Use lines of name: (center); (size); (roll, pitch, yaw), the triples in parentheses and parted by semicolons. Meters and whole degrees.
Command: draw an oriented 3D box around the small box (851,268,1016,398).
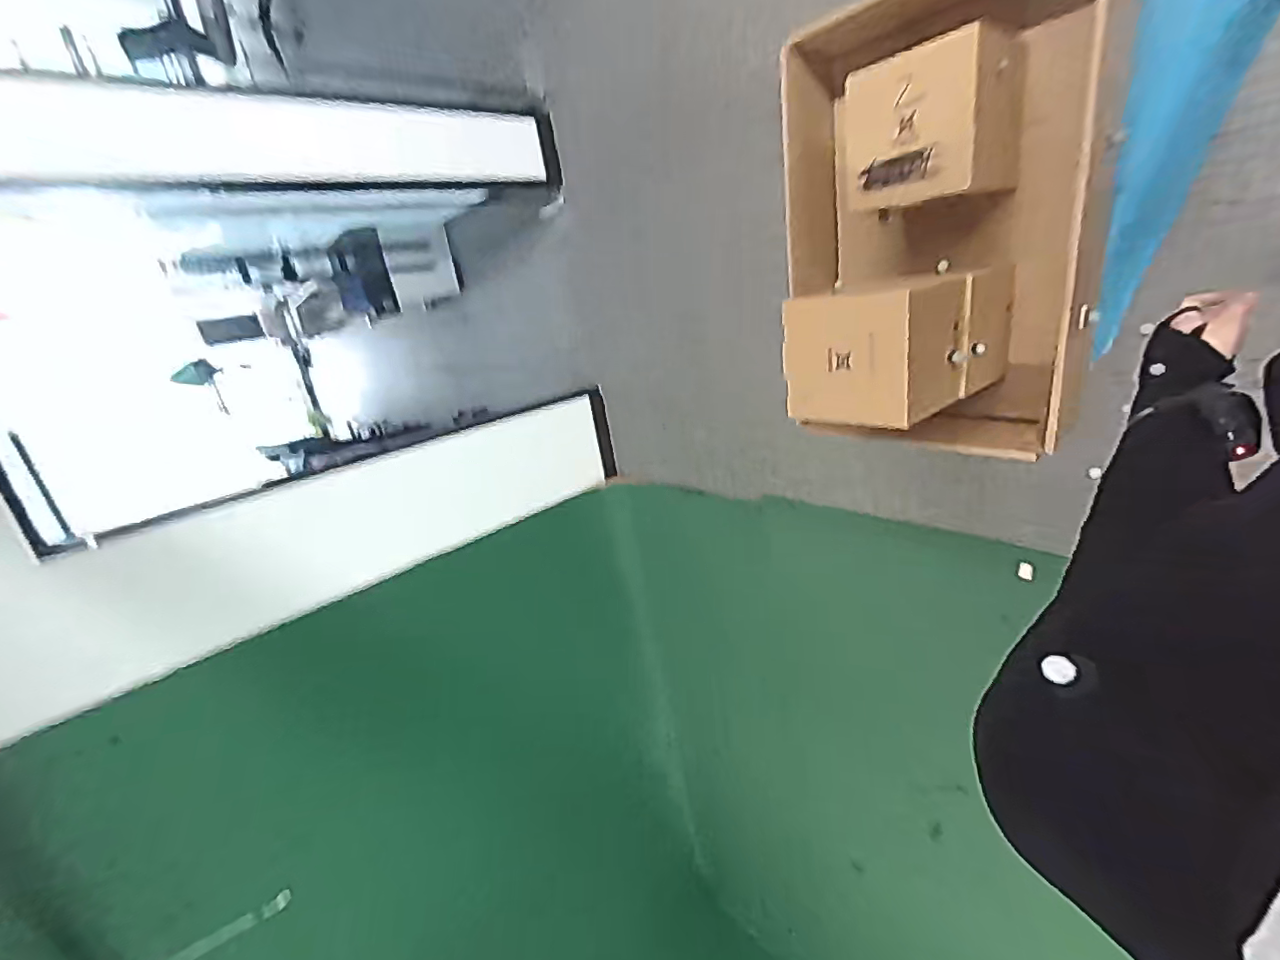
small box: (0.450, -0.230, 0.843); (0.179, 0.176, 0.168); (15, 120, 49)

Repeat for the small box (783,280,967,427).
small box: (0.323, -0.180, 0.754); (0.179, 0.176, 0.168); (14, 119, 48)
